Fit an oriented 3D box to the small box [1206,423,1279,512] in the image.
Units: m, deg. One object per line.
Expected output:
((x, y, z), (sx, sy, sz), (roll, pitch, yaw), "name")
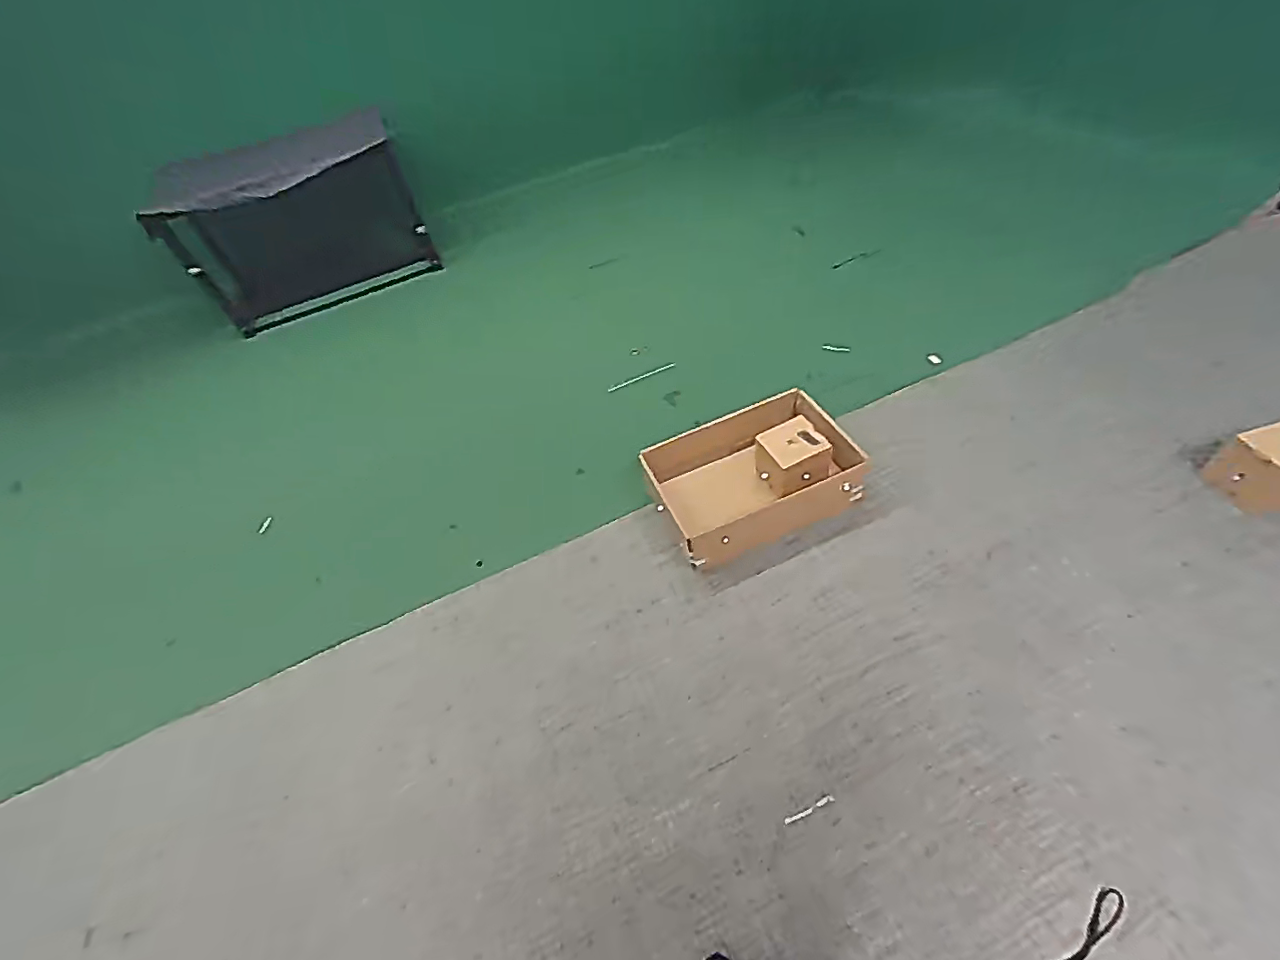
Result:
((1.762, -0.033, 1.513), (0.179, 0.176, 0.168), (-15, 49, -1), "small box")
